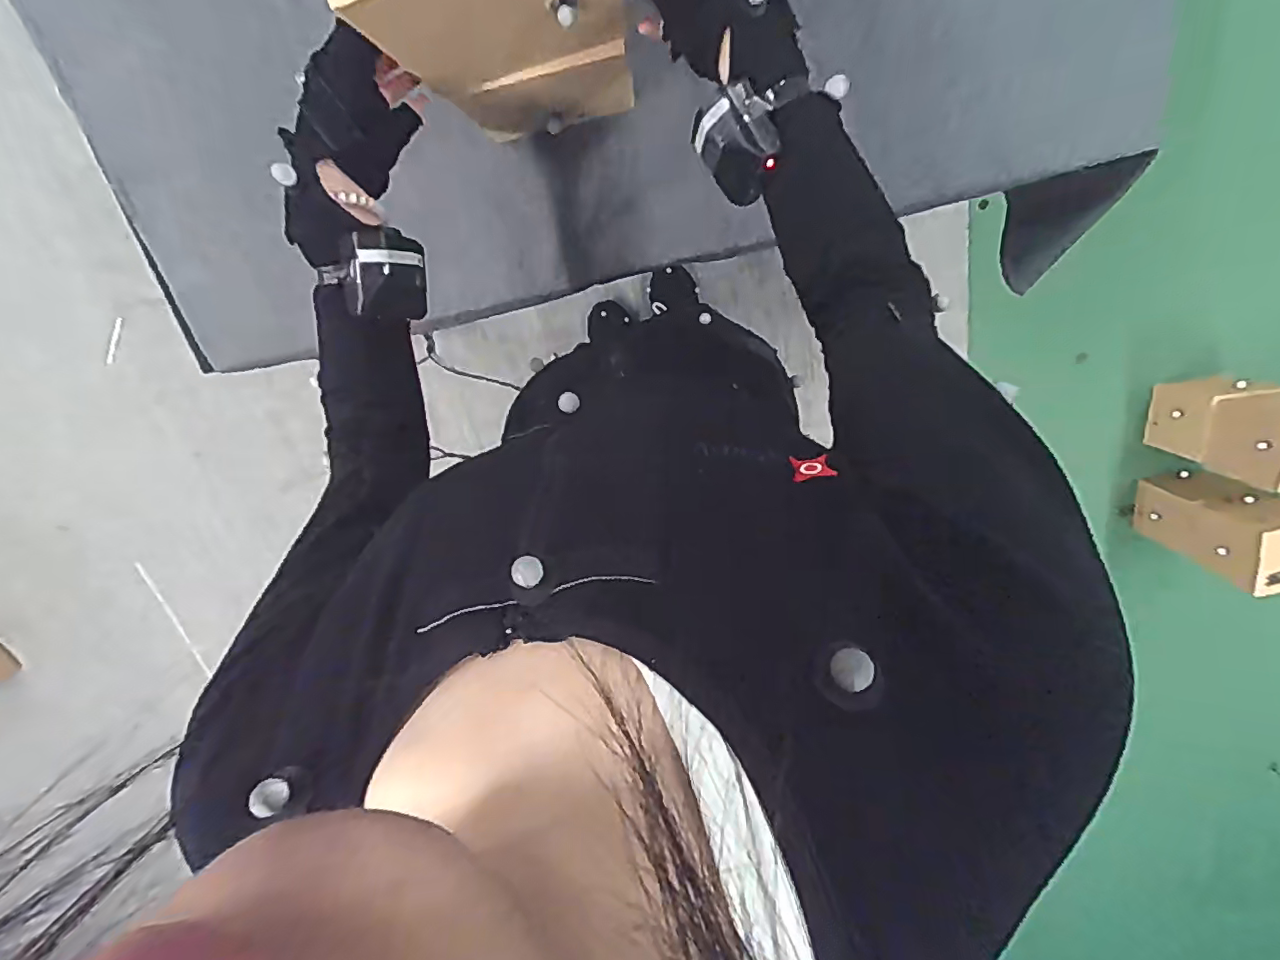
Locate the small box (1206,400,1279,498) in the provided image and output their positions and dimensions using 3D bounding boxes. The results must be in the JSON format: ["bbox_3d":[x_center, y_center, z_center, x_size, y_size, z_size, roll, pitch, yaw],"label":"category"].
[{"bbox_3d":[1.432,-0.078,1.203,0.168,0.176,0.179,-7,109,4],"label":"small box"}]

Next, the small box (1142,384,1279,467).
[{"bbox_3d":[1.425,-0.140,1.356,0.179,0.176,0.168,-6,109,4],"label":"small box"}]

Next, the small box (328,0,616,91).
[{"bbox_3d":[-0.116,-0.400,0.361,0.179,0.176,0.168,-12,108,7],"label":"small box"}]

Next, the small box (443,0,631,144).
[{"bbox_3d":[-0.106,-0.454,0.515,0.168,0.176,0.179,-10,110,6],"label":"small box"}]
